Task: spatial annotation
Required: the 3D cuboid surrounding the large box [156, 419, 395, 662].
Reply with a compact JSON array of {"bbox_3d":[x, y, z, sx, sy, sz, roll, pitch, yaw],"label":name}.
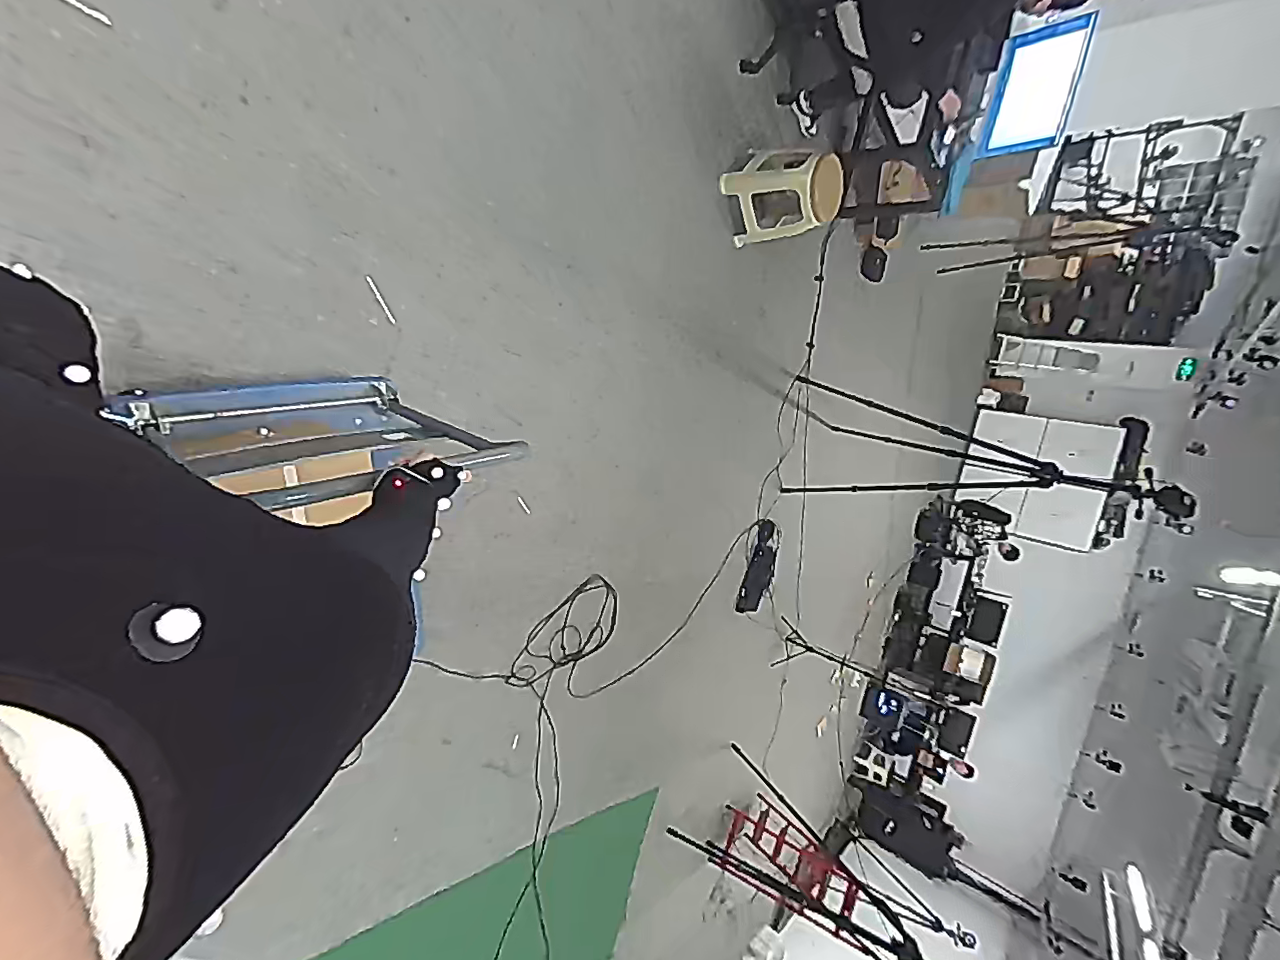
[{"bbox_3d":[-0.794,0.106,1.200,0.320,0.320,0.408,-20,119,-45],"label":"large box"}]
